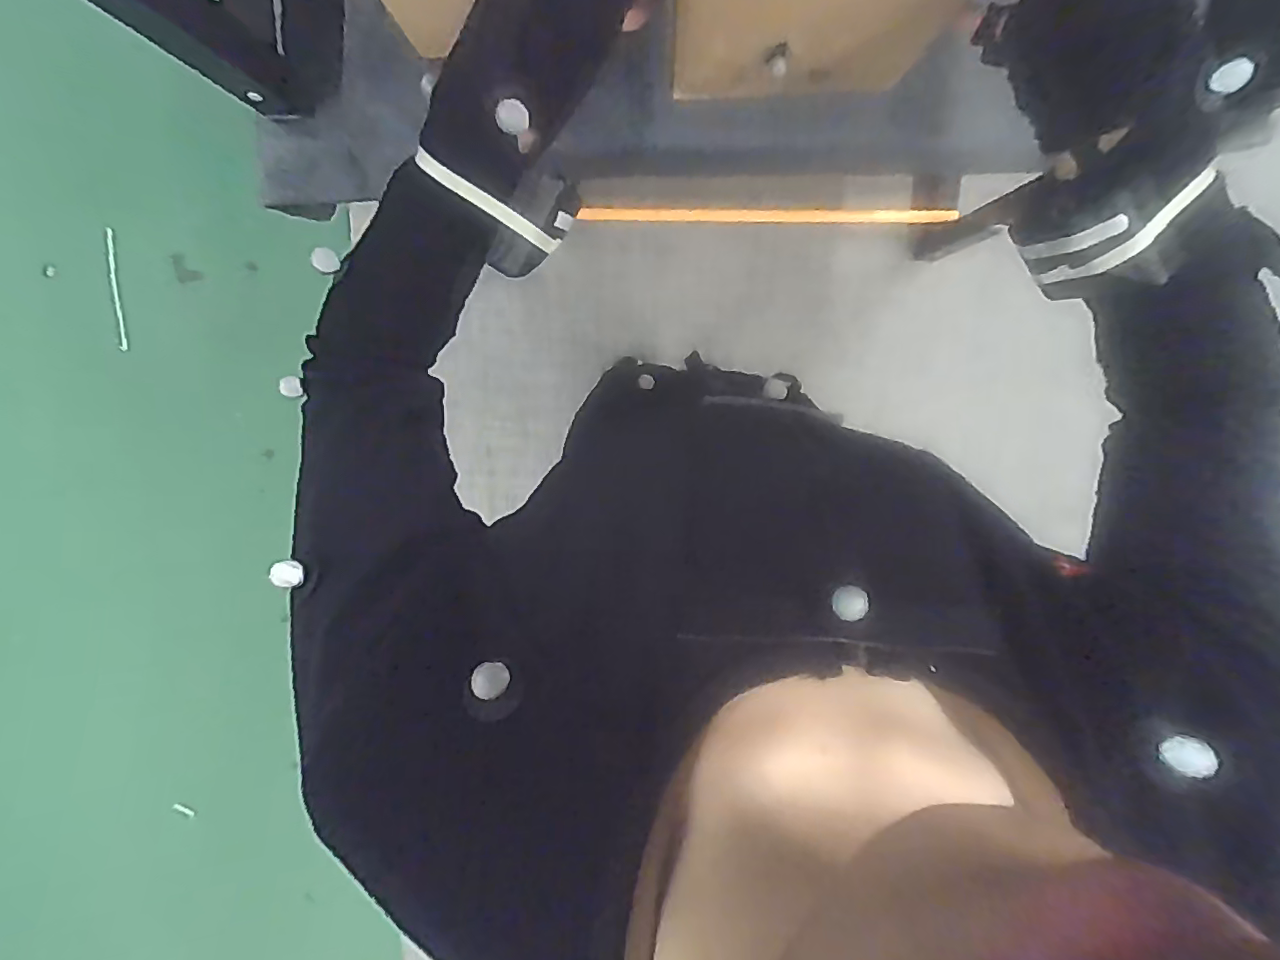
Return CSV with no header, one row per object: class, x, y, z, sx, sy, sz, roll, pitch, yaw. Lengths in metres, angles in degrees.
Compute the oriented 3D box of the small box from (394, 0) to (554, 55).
small box,-0.187,-0.585,0.556,0.168,0.176,0.179,-1,100,3
